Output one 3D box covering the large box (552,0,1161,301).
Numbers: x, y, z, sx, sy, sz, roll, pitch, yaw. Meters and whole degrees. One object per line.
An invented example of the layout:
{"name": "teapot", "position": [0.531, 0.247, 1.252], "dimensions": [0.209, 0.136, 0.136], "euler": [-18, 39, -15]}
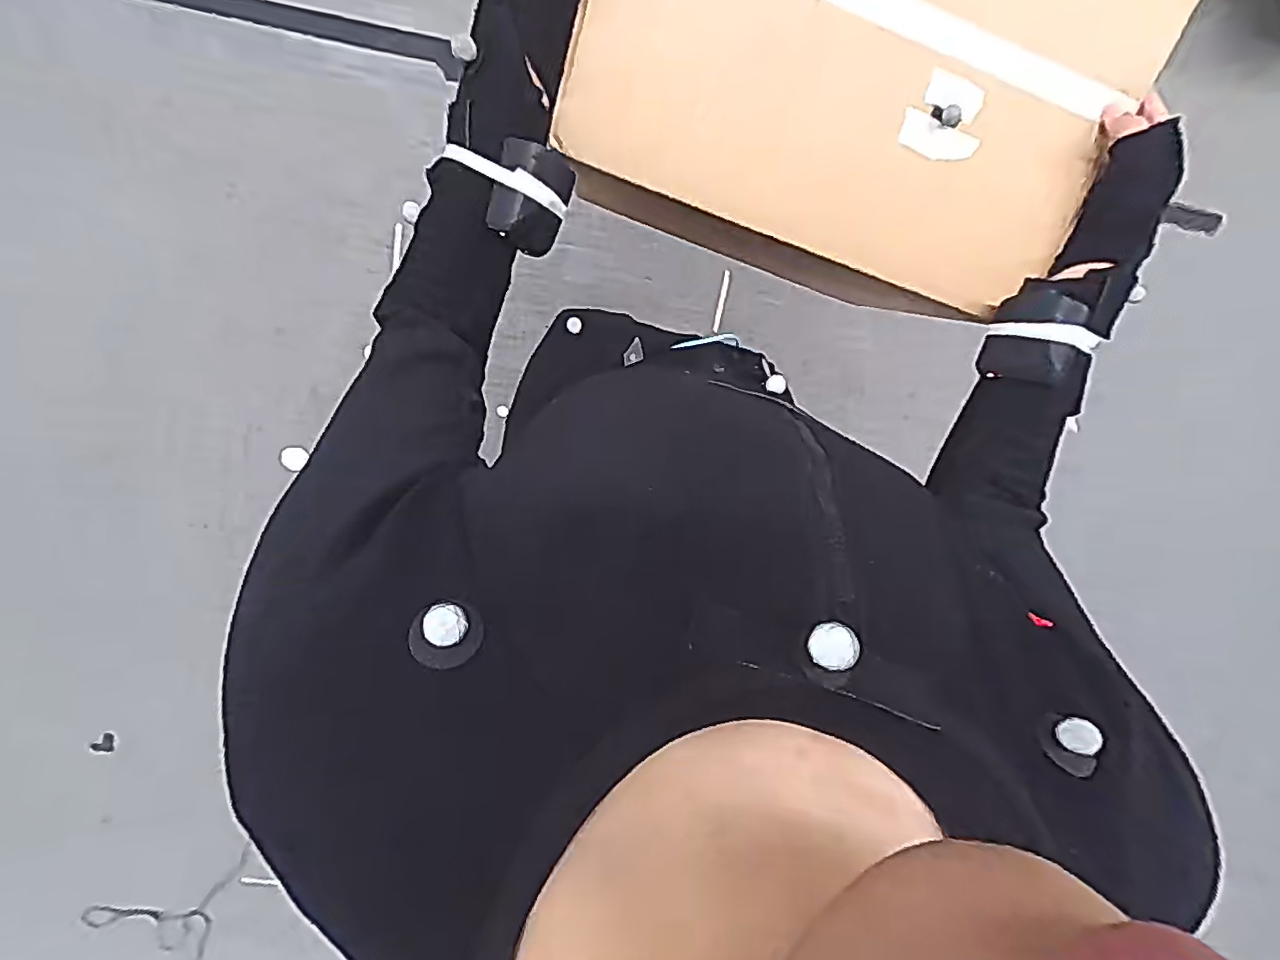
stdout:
{"name": "large box", "position": [0.154, -0.392, 0.516], "dimensions": [0.408, 0.320, 0.320], "euler": [15, 111, -10]}
